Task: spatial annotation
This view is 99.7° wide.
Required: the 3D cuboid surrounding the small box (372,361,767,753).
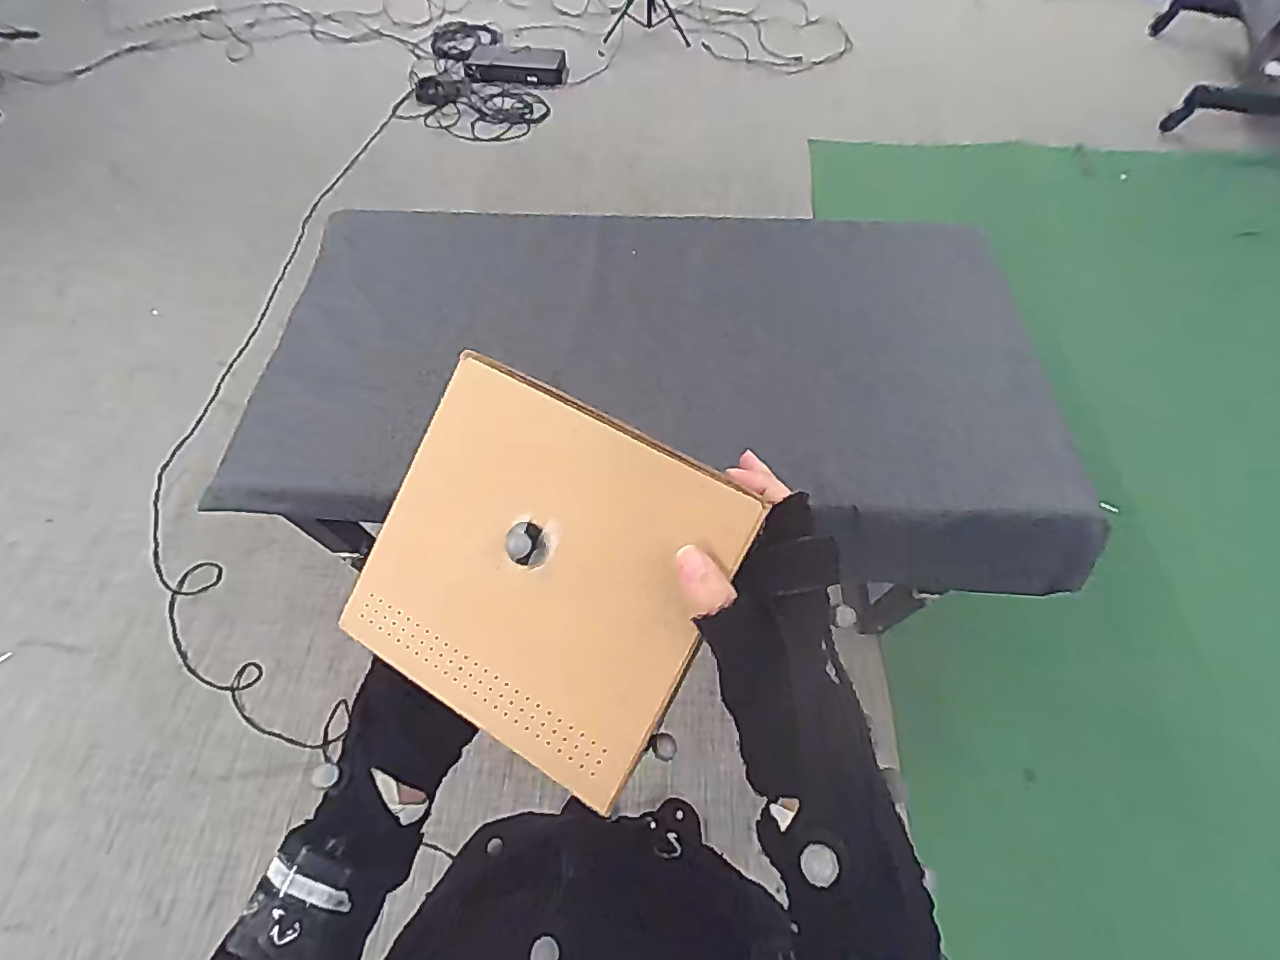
[{"bbox_3d":[-0.033,0.048,0.362,0.179,0.168,0.176,26,93,14],"label":"small box"}]
